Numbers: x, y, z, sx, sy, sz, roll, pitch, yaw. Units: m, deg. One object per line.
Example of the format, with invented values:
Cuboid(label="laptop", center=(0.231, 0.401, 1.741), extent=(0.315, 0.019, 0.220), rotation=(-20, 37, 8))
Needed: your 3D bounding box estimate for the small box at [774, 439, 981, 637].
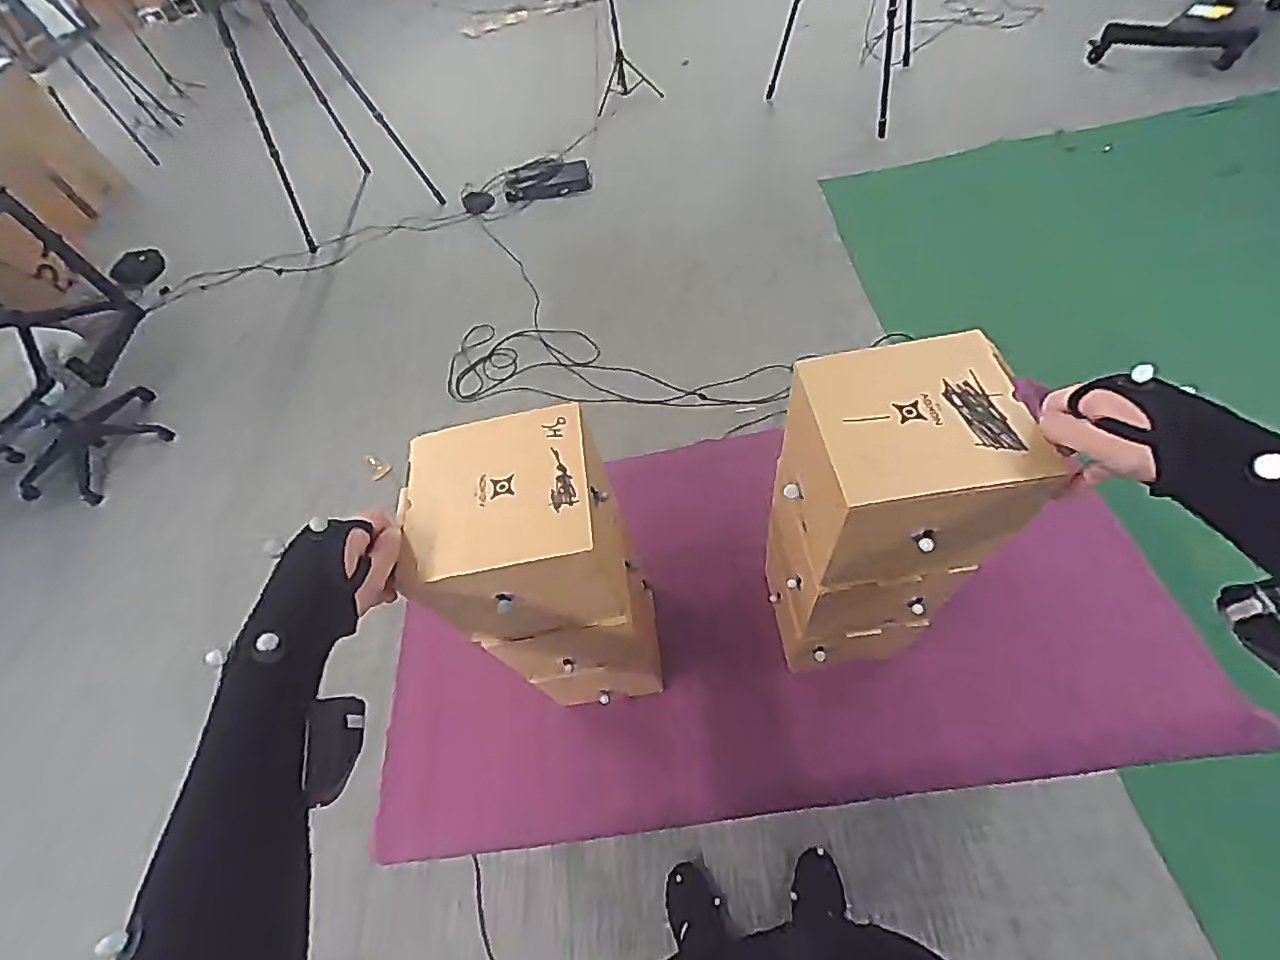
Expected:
Cuboid(label="small box", center=(0.266, 0.080, 0.654), extent=(0.168, 0.176, 0.179), rotation=(-10, 55, 3))

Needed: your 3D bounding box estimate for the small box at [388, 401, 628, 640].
Cuboid(label="small box", center=(-0.119, 0.050, 0.548), extent=(0.179, 0.176, 0.168), rotation=(-11, 57, 4))

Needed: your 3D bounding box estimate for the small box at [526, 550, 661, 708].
Cuboid(label="small box", center=(-0.065, 0.229, 0.816), extent=(0.168, 0.176, 0.179), rotation=(-10, 56, 5))

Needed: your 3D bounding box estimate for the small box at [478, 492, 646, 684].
Cuboid(label="small box", center=(-0.091, 0.139, 0.683), extent=(0.168, 0.176, 0.179), rotation=(-10, 56, 3))
